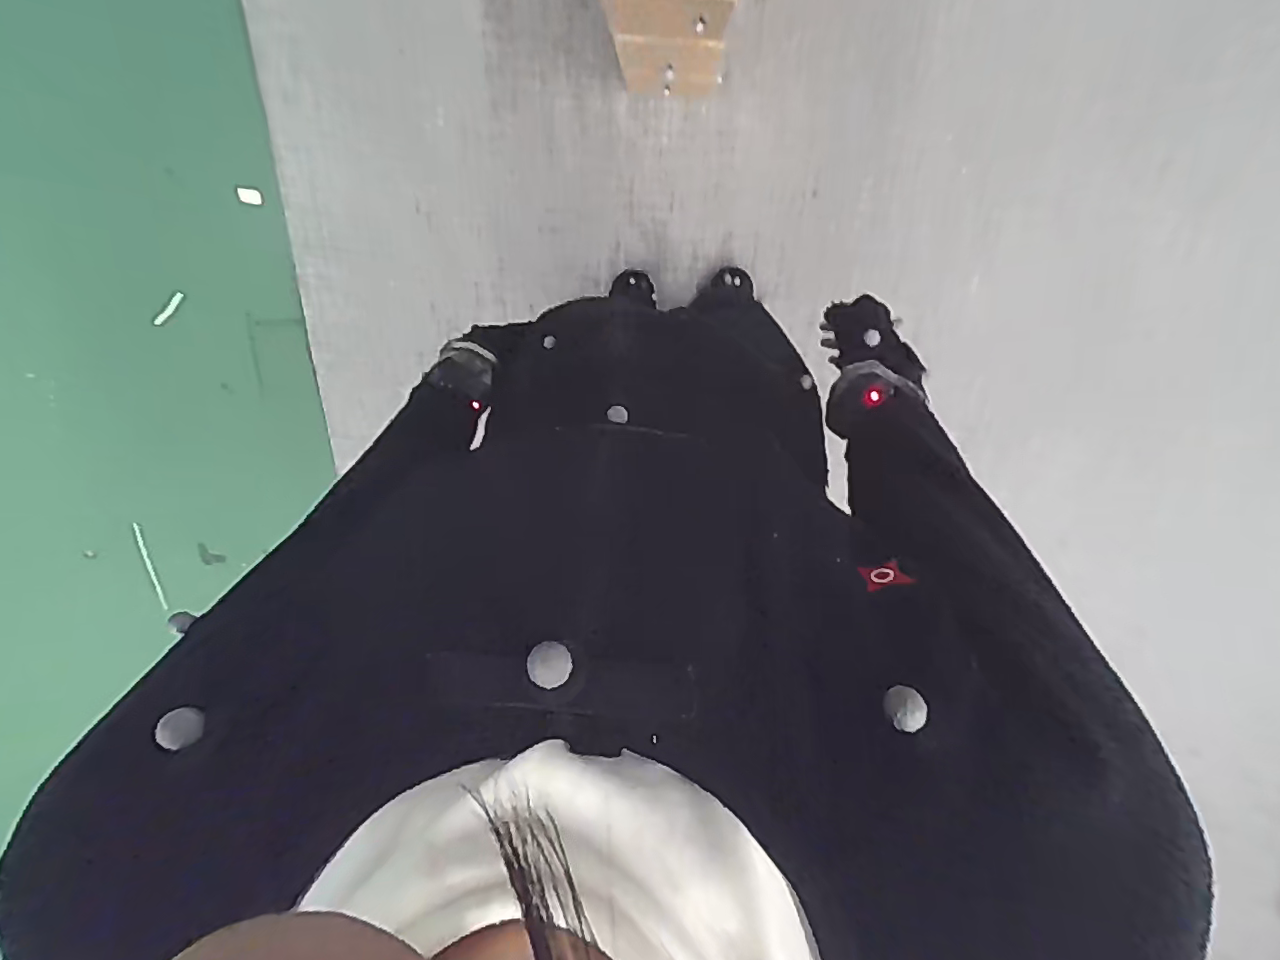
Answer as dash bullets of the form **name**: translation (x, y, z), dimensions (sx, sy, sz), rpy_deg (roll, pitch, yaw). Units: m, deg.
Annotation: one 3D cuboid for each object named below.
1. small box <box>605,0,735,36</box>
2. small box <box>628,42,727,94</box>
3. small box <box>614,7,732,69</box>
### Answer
- **small box**: translation (0.045, -0.720, 0.717), dimensions (0.179, 0.176, 0.168), rpy_deg (5, 114, 2)
- **small box**: translation (0.070, -0.845, 1.017), dimensions (0.179, 0.176, 0.168), rpy_deg (2, 115, 1)
- **small box**: translation (0.057, -0.783, 0.866), dimensions (0.179, 0.176, 0.168), rpy_deg (6, 115, 0)
